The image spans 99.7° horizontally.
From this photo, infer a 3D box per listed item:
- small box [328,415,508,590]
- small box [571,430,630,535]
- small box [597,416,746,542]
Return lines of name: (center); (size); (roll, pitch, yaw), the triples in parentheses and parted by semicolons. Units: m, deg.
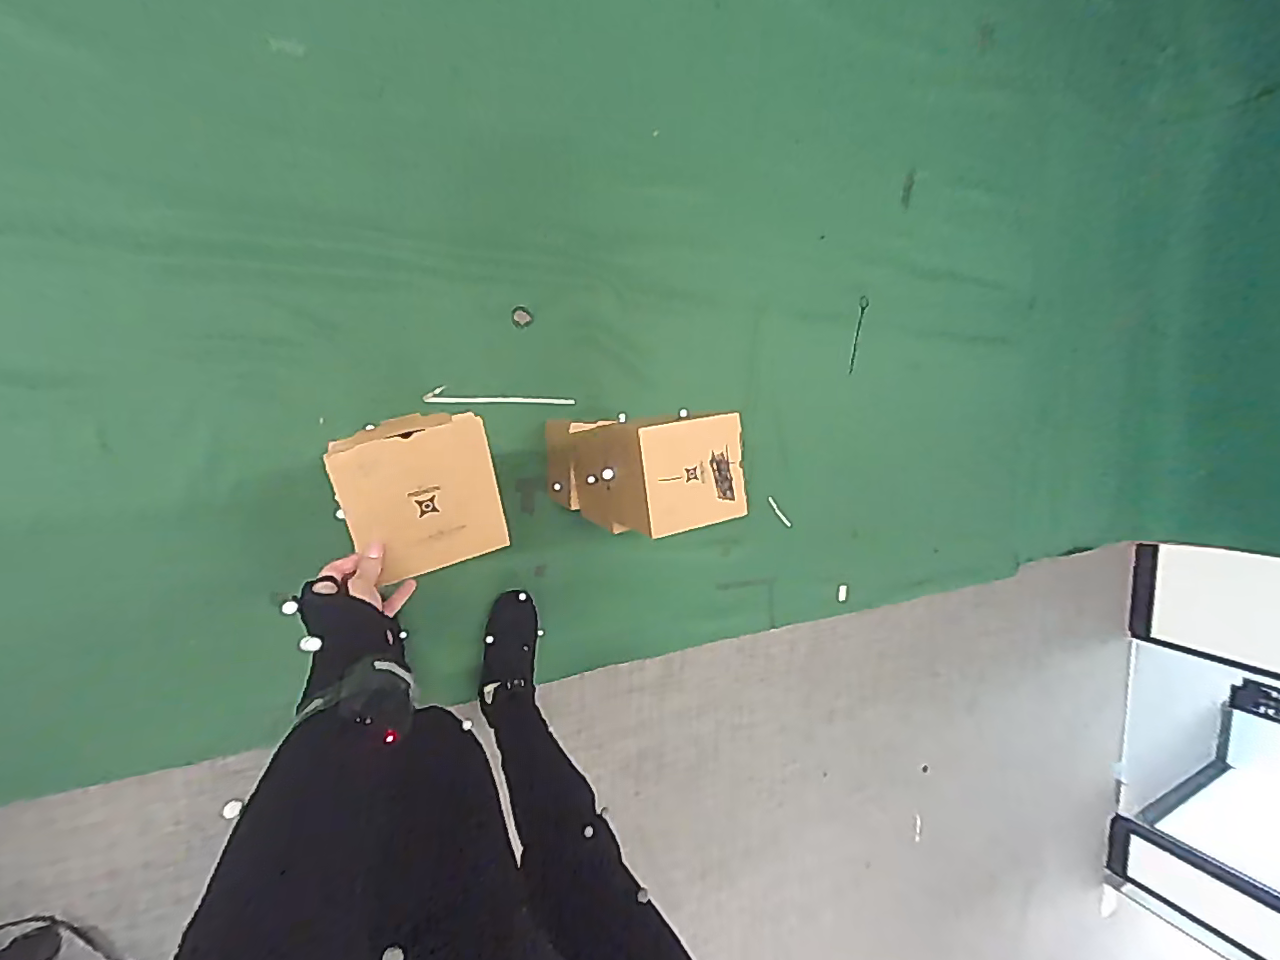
small box: (-0.290, 0.025, 0.715); (0.168, 0.176, 0.179); (-17, 97, -22)
small box: (-0.020, -0.012, 1.027); (0.168, 0.176, 0.179); (-14, 103, -23)
small box: (0.047, -0.013, 0.875); (0.179, 0.176, 0.168); (-12, 101, -23)
